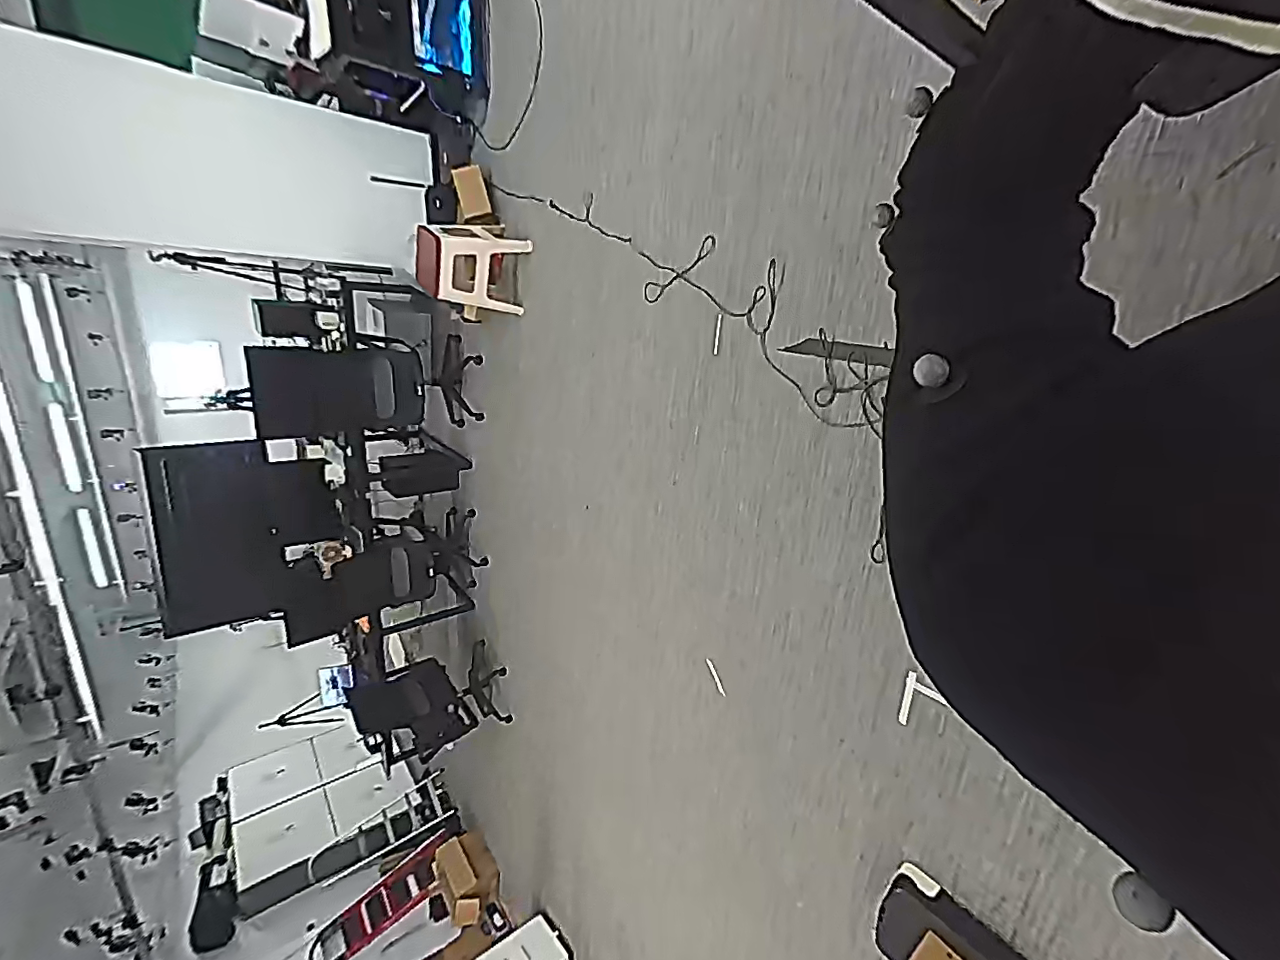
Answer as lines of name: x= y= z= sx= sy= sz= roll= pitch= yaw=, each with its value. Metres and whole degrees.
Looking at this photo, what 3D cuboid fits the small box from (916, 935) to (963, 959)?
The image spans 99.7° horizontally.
small box: x=0.778 y=1.340 z=1.392 sx=0.168 sy=0.176 sz=0.179 roll=30 pitch=121 yaw=45
